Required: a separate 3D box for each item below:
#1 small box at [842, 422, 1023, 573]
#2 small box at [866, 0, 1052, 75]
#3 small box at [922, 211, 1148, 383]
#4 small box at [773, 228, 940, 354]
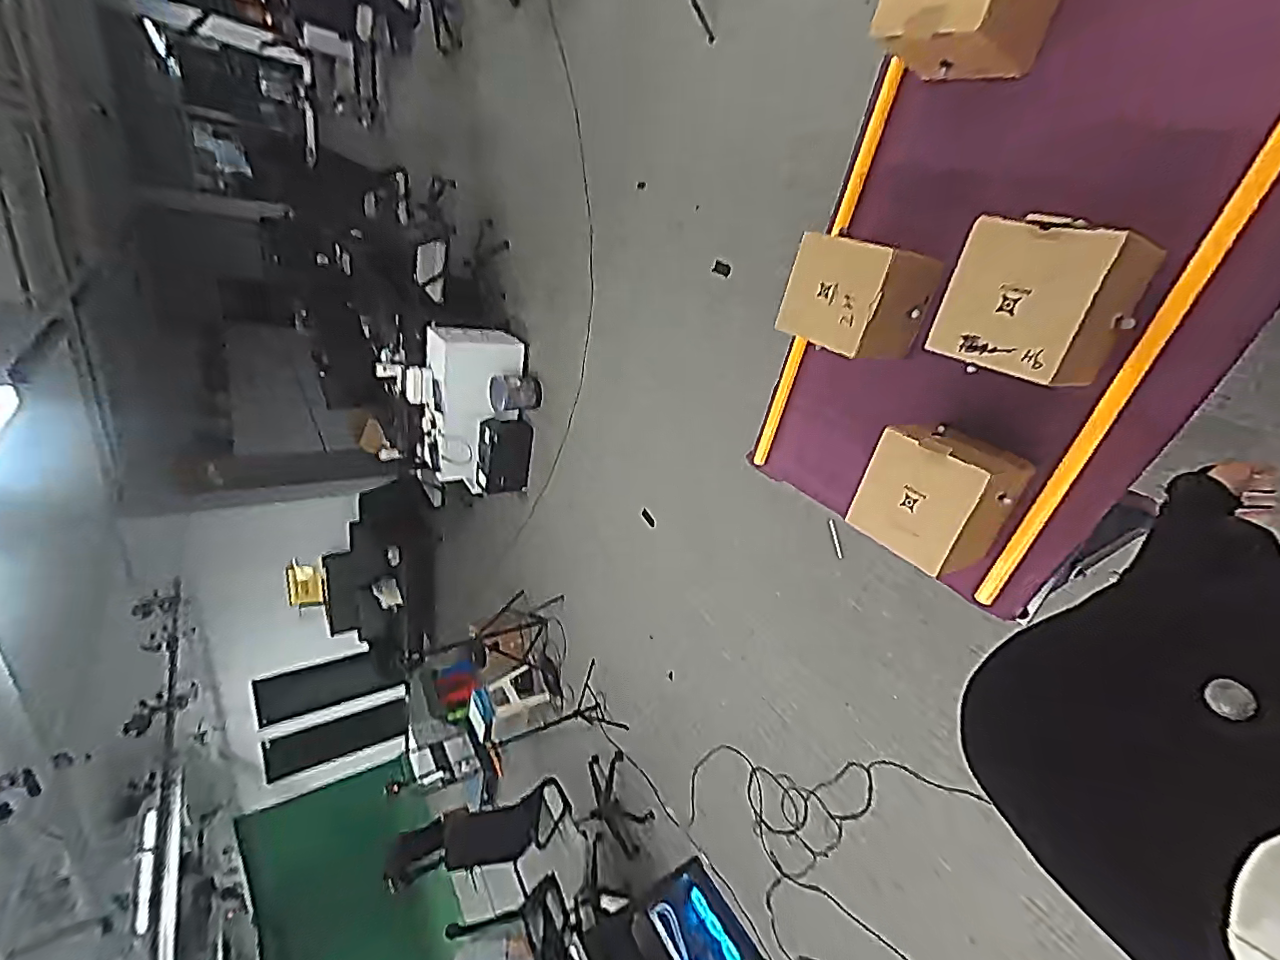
[{"bbox_3d":[0.463,0.018,0.853,0.168,0.176,0.179,41,125,44],"label":"small box"},{"bbox_3d":[0.455,-0.687,0.740,0.168,0.176,0.179,40,128,42],"label":"small box"},{"bbox_3d":[0.525,-0.239,0.722,0.168,0.176,0.179,40,127,44],"label":"small box"},{"bbox_3d":[0.368,-0.319,0.929,0.179,0.176,0.168,40,127,42],"label":"small box"}]
